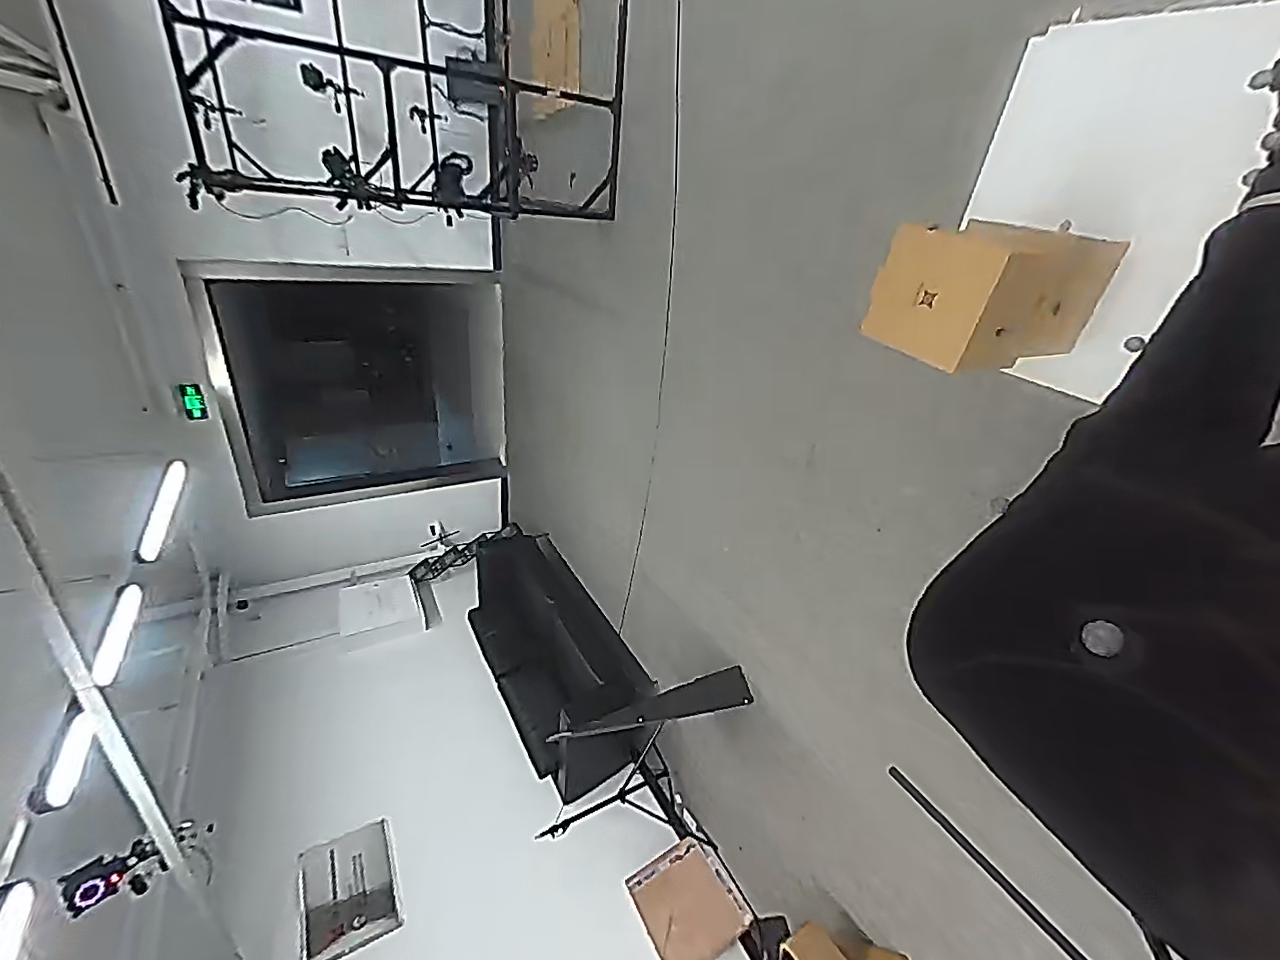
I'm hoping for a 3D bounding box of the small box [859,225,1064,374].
[{"bbox_3d":[0.475,-0.274,0.809,0.179,0.176,0.168,48,139,45],"label":"small box"}]

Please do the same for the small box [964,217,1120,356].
[{"bbox_3d":[0.618,-0.314,0.878,0.168,0.176,0.179,46,136,46],"label":"small box"}]
